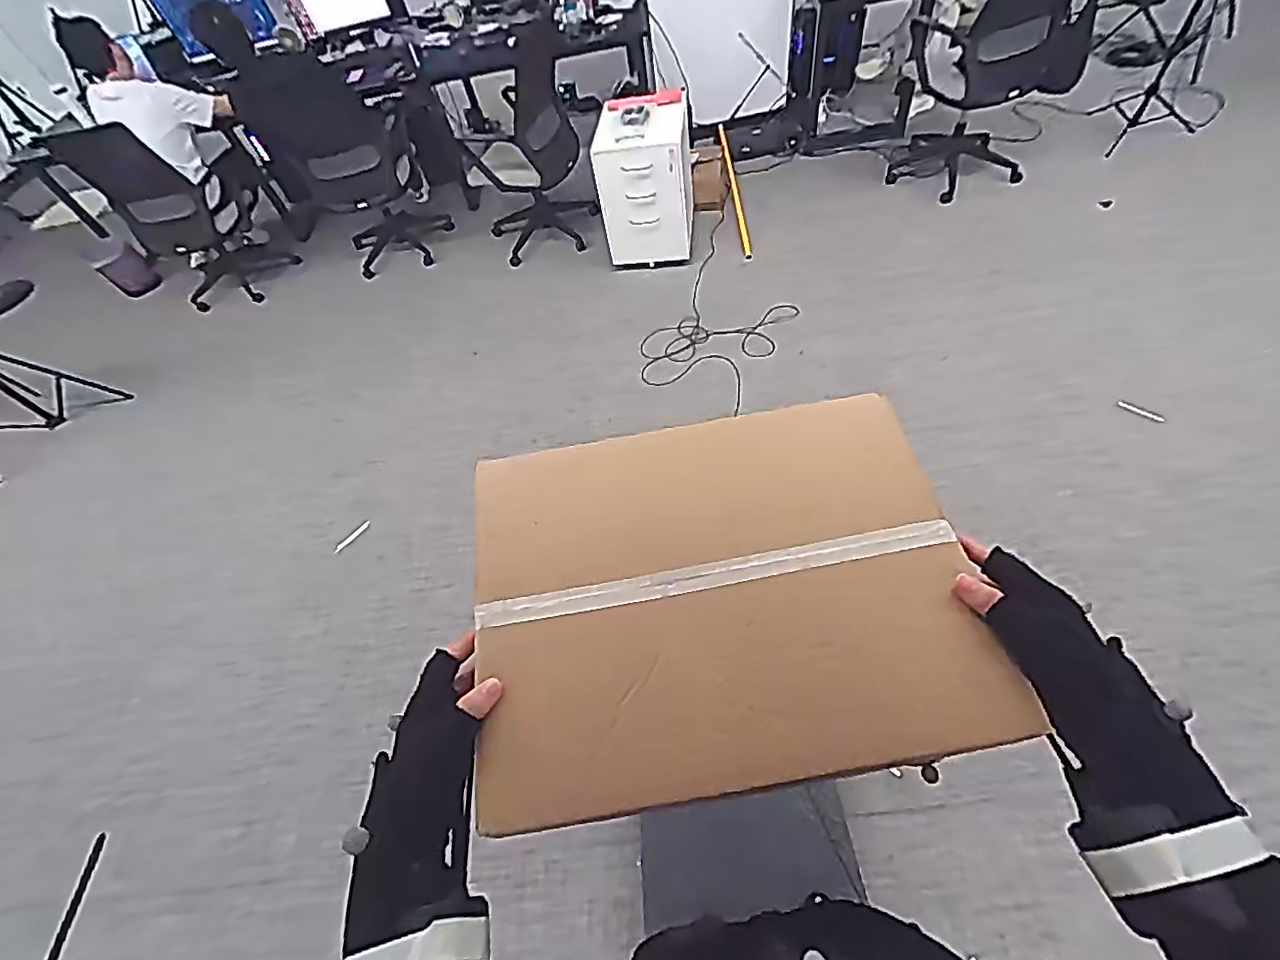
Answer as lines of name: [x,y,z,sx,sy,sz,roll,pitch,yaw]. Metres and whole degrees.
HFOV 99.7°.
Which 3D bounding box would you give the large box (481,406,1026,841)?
large box: [0.076,0.163,0.589,0.408,0.320,0.320,-10,58,-1]
